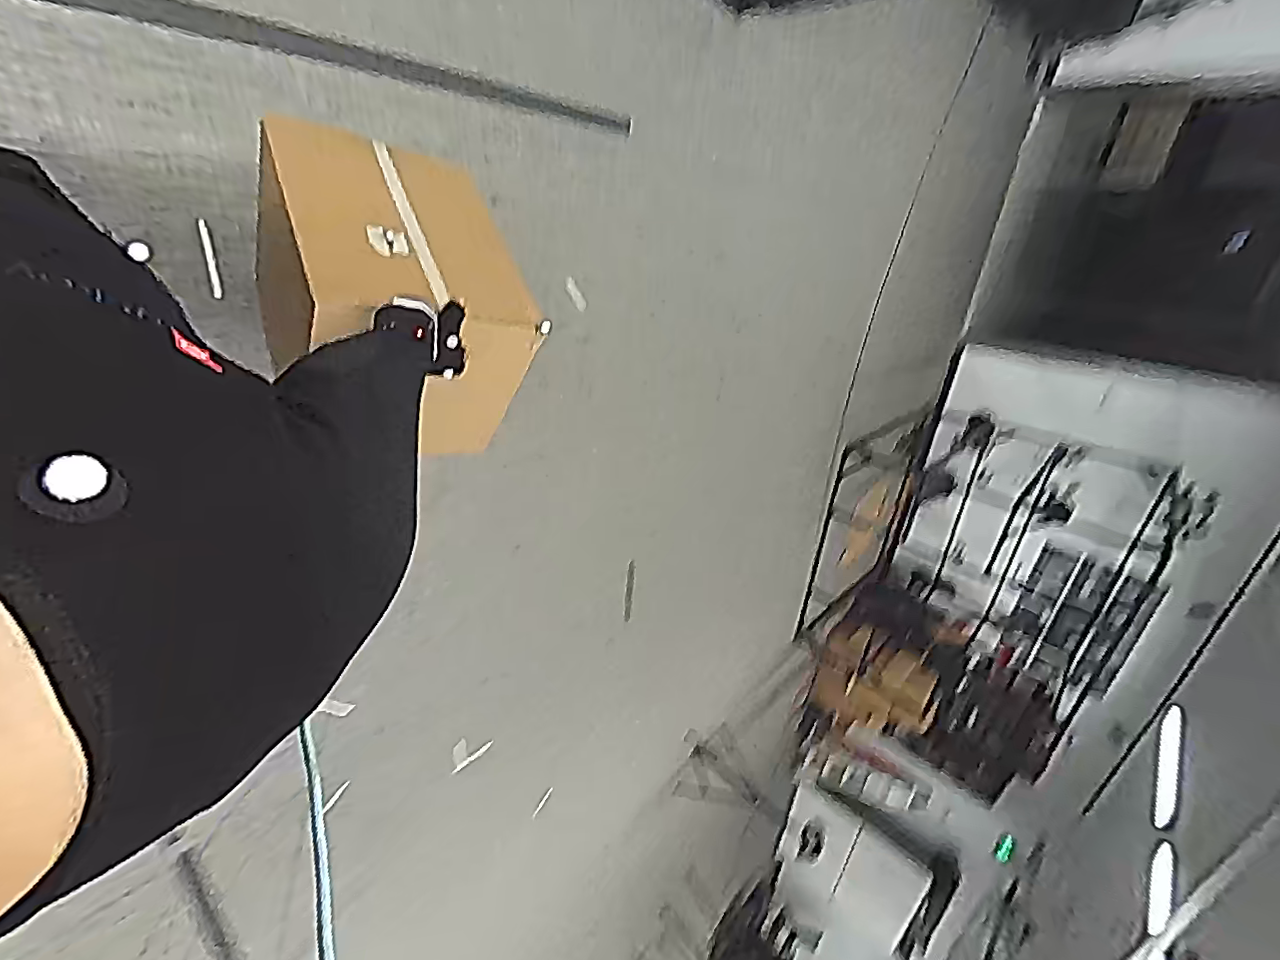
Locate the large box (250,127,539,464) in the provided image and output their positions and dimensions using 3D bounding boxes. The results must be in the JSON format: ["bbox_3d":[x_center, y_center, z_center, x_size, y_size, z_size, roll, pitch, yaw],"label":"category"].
[{"bbox_3d":[-0.433,-0.282,0.912,0.320,0.408,0.320,-7,151,-41],"label":"large box"}]
